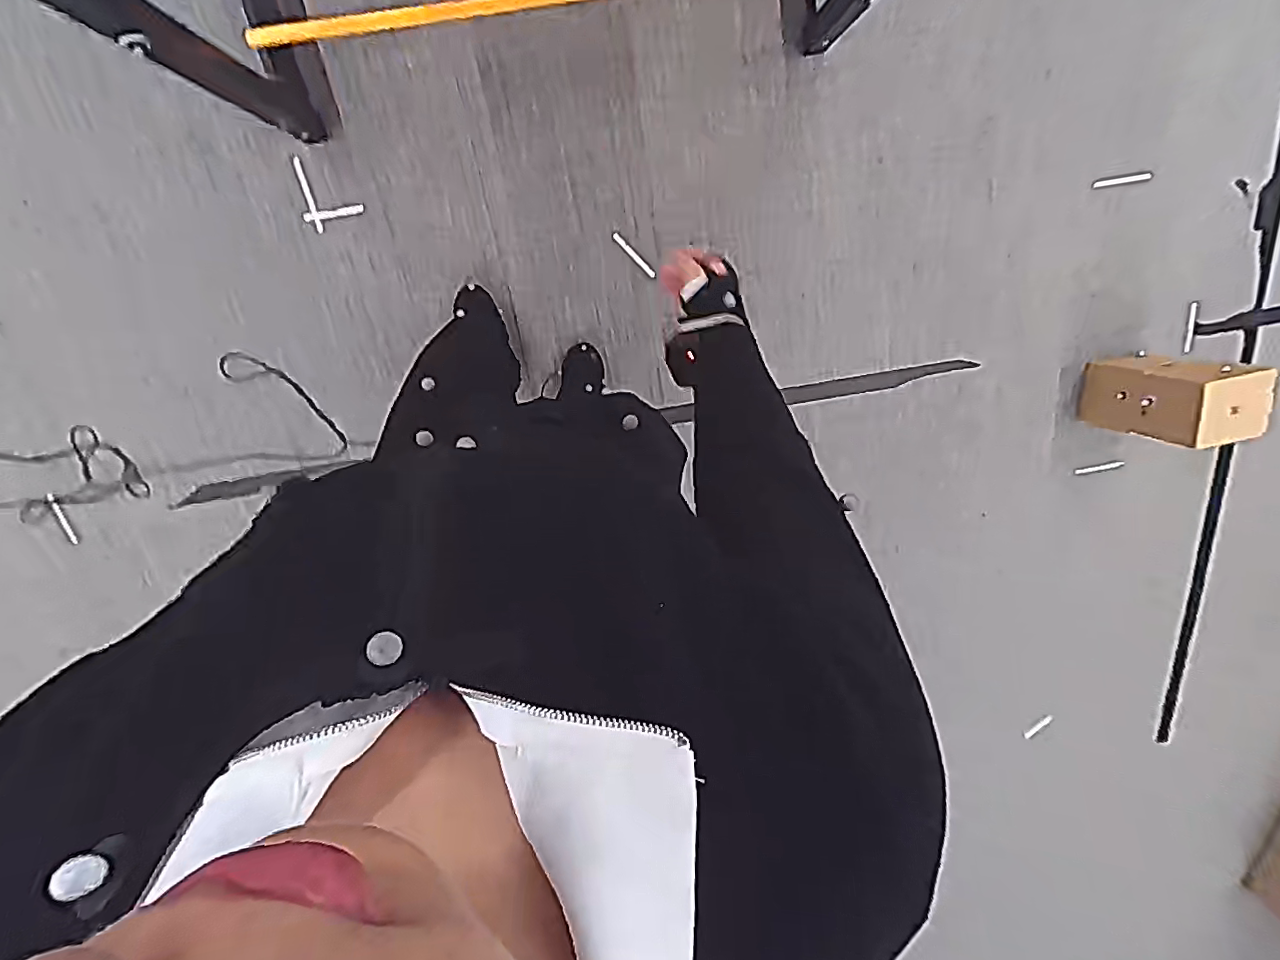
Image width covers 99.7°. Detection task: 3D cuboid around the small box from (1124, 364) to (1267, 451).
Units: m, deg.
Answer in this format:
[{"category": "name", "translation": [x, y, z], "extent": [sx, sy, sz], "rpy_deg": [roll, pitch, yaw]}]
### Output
[{"category": "small box", "translation": [1.380, -0.188, 1.356], "extent": [0.179, 0.176, 0.168], "rpy_deg": [-12, 109, 0]}]

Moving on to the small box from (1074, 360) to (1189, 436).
[{"category": "small box", "translation": [1.364, -0.237, 1.510], "extent": [0.168, 0.176, 0.179], "rpy_deg": [-8, 111, -3]}]
